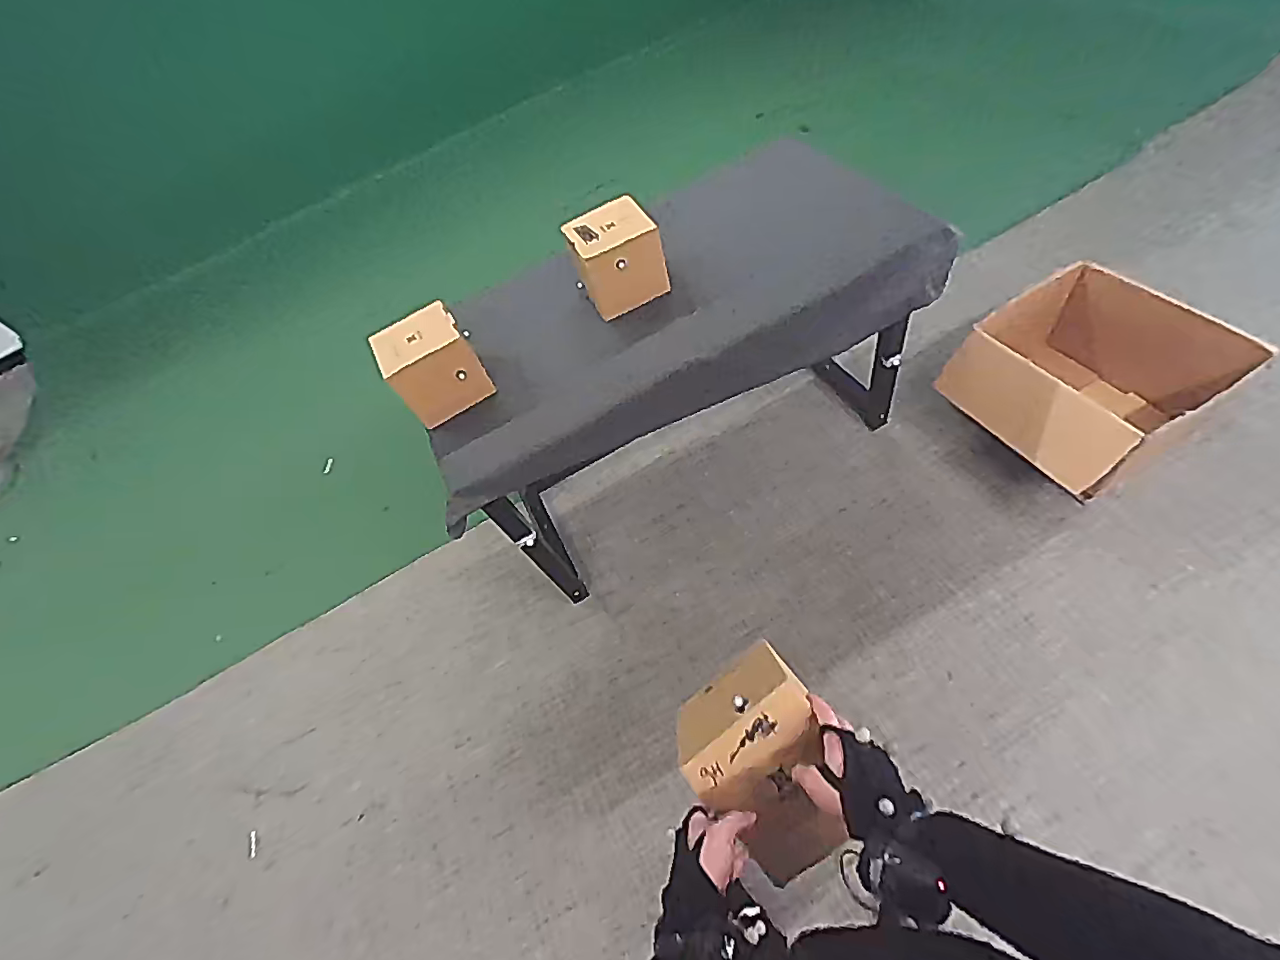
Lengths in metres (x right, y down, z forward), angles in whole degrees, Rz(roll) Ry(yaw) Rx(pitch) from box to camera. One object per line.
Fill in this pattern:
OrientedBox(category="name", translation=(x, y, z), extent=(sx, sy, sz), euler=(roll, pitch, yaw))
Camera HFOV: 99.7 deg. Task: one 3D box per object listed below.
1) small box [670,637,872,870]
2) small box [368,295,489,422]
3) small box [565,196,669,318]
OrientedBox(category="small box", translation=(0.157, 0.337, 0.705), extent=(0.168, 0.176, 0.179), euler=(-42, 88, 2))
OrientedBox(category="small box", translation=(-0.451, -0.262, 1.182), extent=(0.179, 0.176, 0.168), euler=(-33, 54, -6))
OrientedBox(category="small box", translation=(-0.048, -0.508, 1.247), extent=(0.179, 0.176, 0.168), euler=(-24, 56, -1))
